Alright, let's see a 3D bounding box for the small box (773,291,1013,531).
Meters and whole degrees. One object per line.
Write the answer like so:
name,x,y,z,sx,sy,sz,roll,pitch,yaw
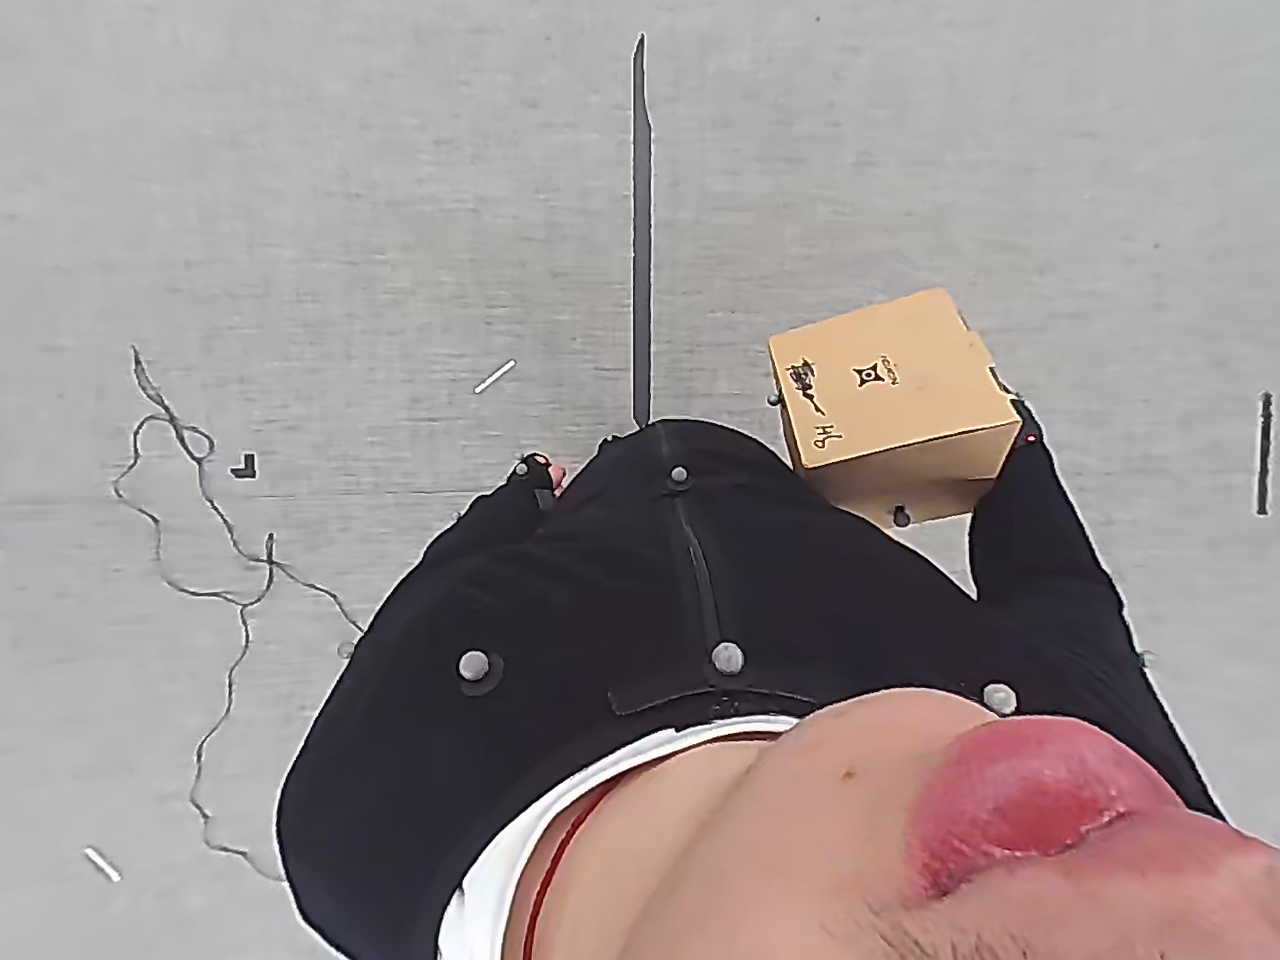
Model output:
small box,0.251,-0.062,0.578,0.179,0.176,0.168,-13,56,13
